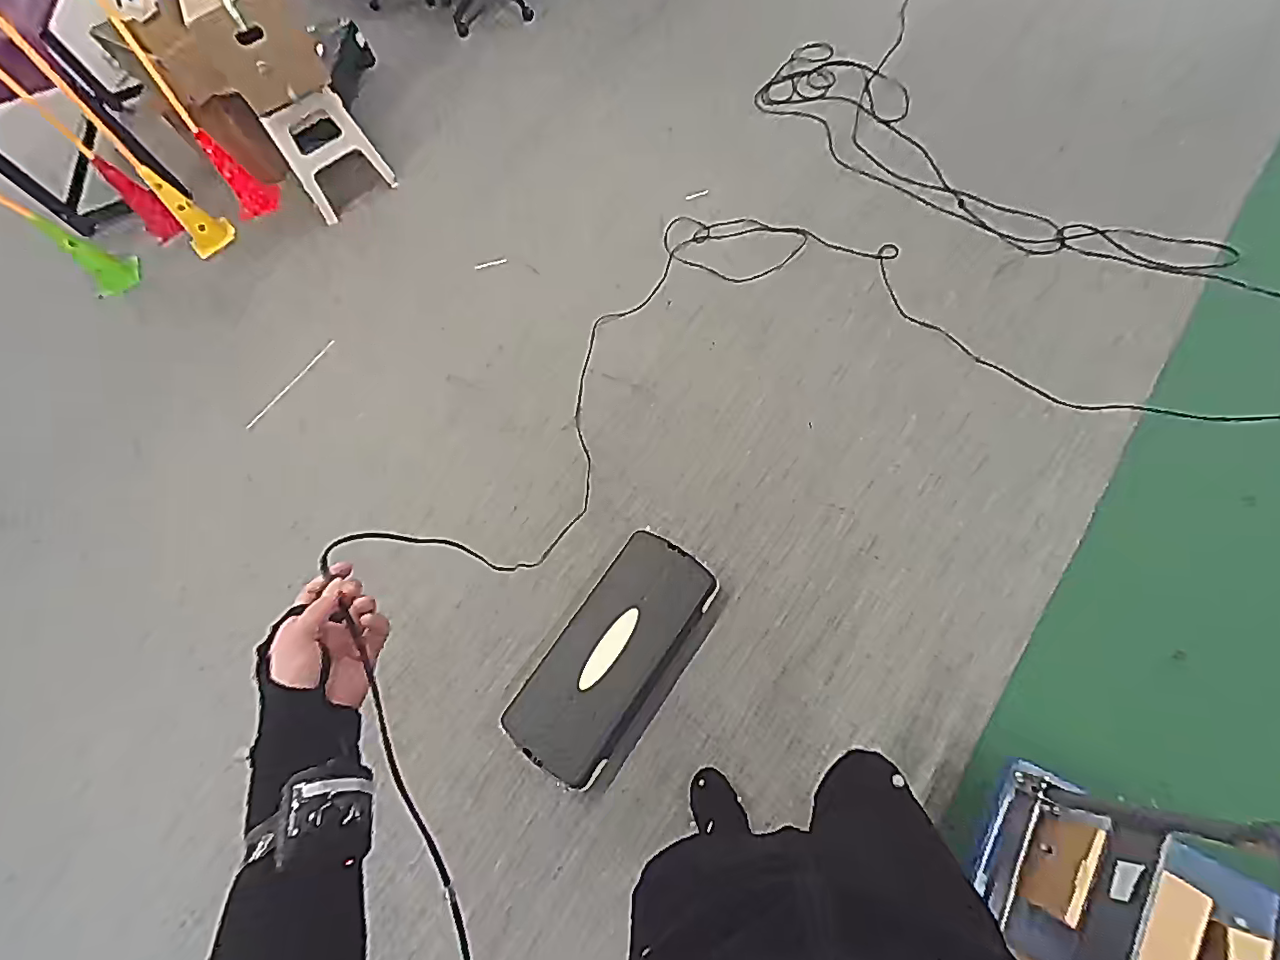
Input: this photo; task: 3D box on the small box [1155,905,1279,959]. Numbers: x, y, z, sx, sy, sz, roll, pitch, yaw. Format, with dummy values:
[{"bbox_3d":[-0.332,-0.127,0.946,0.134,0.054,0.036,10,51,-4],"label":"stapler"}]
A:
[{"bbox_3d":[0.992,0.837,0.883,0.179,0.176,0.168,14,70,15],"label":"small box"}]
